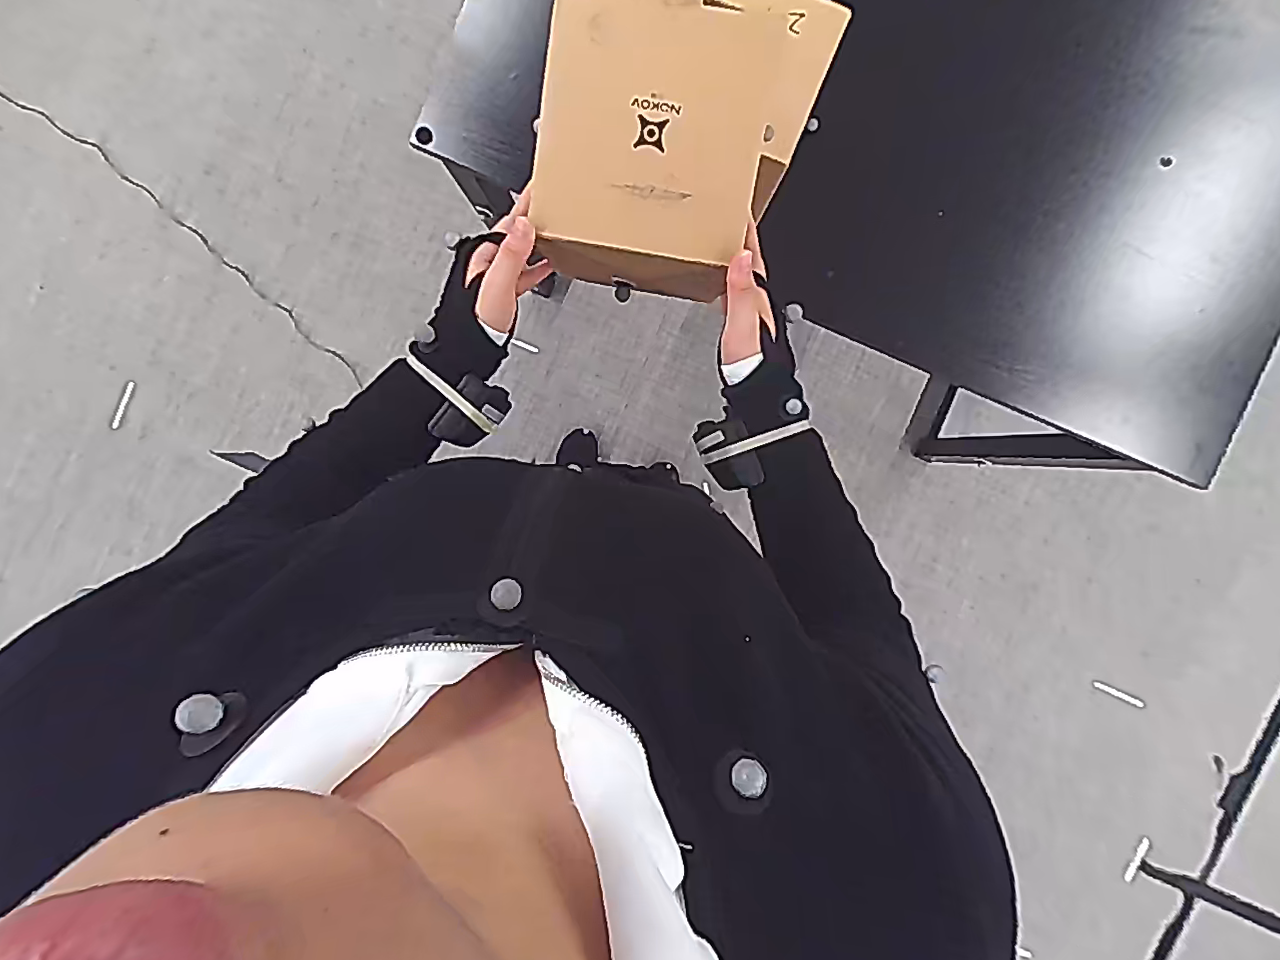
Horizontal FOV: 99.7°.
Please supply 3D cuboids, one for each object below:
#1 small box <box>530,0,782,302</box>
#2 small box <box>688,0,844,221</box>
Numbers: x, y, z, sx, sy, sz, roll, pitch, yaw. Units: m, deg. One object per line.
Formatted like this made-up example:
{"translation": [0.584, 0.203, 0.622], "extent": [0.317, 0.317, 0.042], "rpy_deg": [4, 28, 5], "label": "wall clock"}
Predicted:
{"translation": [0.010, -0.273, 0.481], "extent": [0.168, 0.176, 0.179], "rpy_deg": [10, 99, 0], "label": "small box"}
{"translation": [0.114, -0.454, 0.663], "extent": [0.168, 0.176, 0.179], "rpy_deg": [23, 92, -2], "label": "small box"}
